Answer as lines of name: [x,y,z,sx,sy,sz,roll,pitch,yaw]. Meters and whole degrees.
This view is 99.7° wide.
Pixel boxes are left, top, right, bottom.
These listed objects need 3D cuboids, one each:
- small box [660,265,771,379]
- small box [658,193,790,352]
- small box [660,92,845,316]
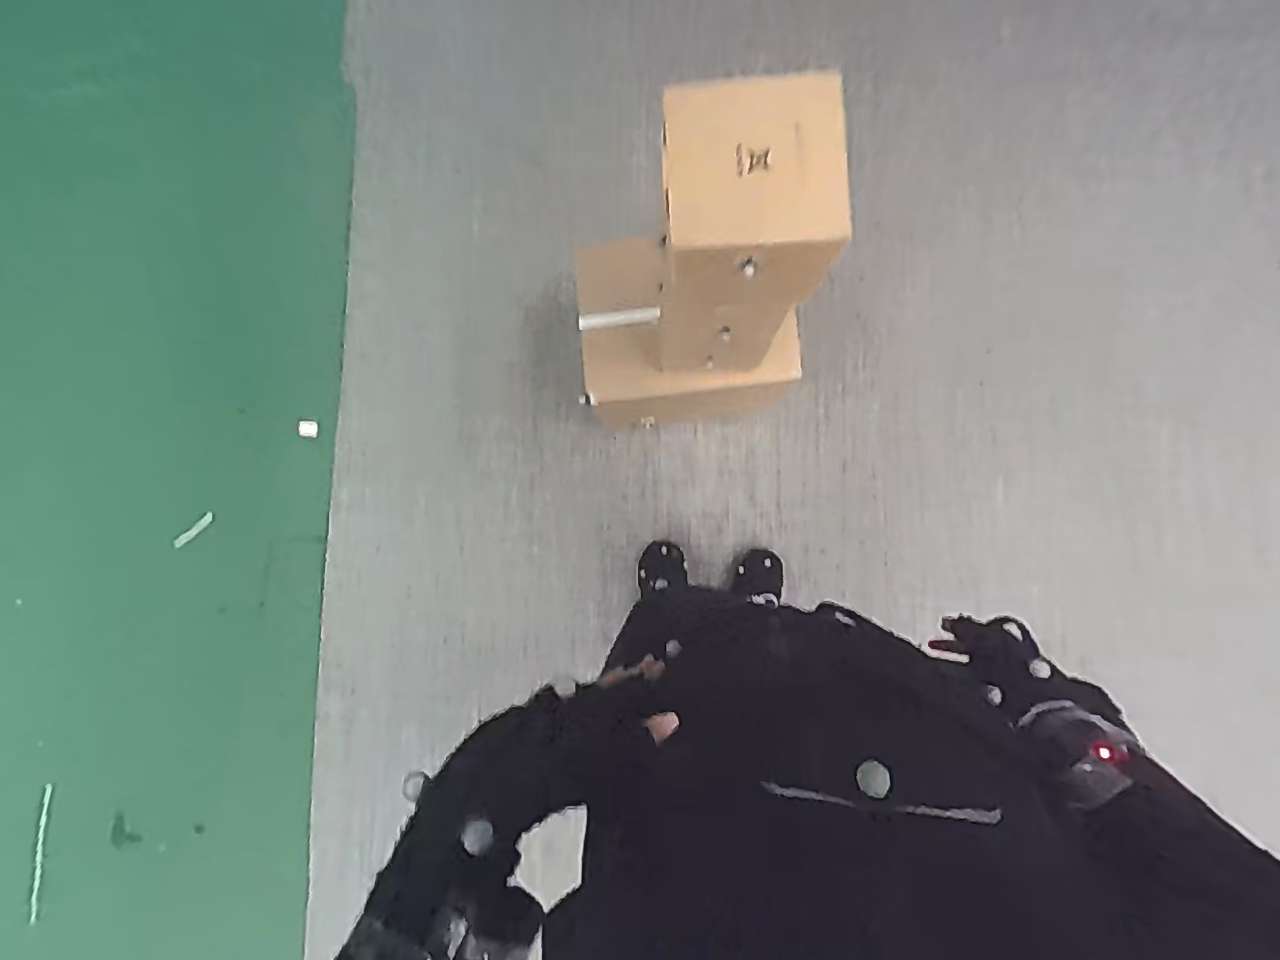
small box: [0.124,-0.277,0.941,0.179,0.176,0.168,-2,85,3]
small box: [0.114,-0.290,0.779,0.168,0.176,0.179,-4,86,2]
small box: [0.115,-0.296,0.616,0.179,0.176,0.168,-3,86,2]
